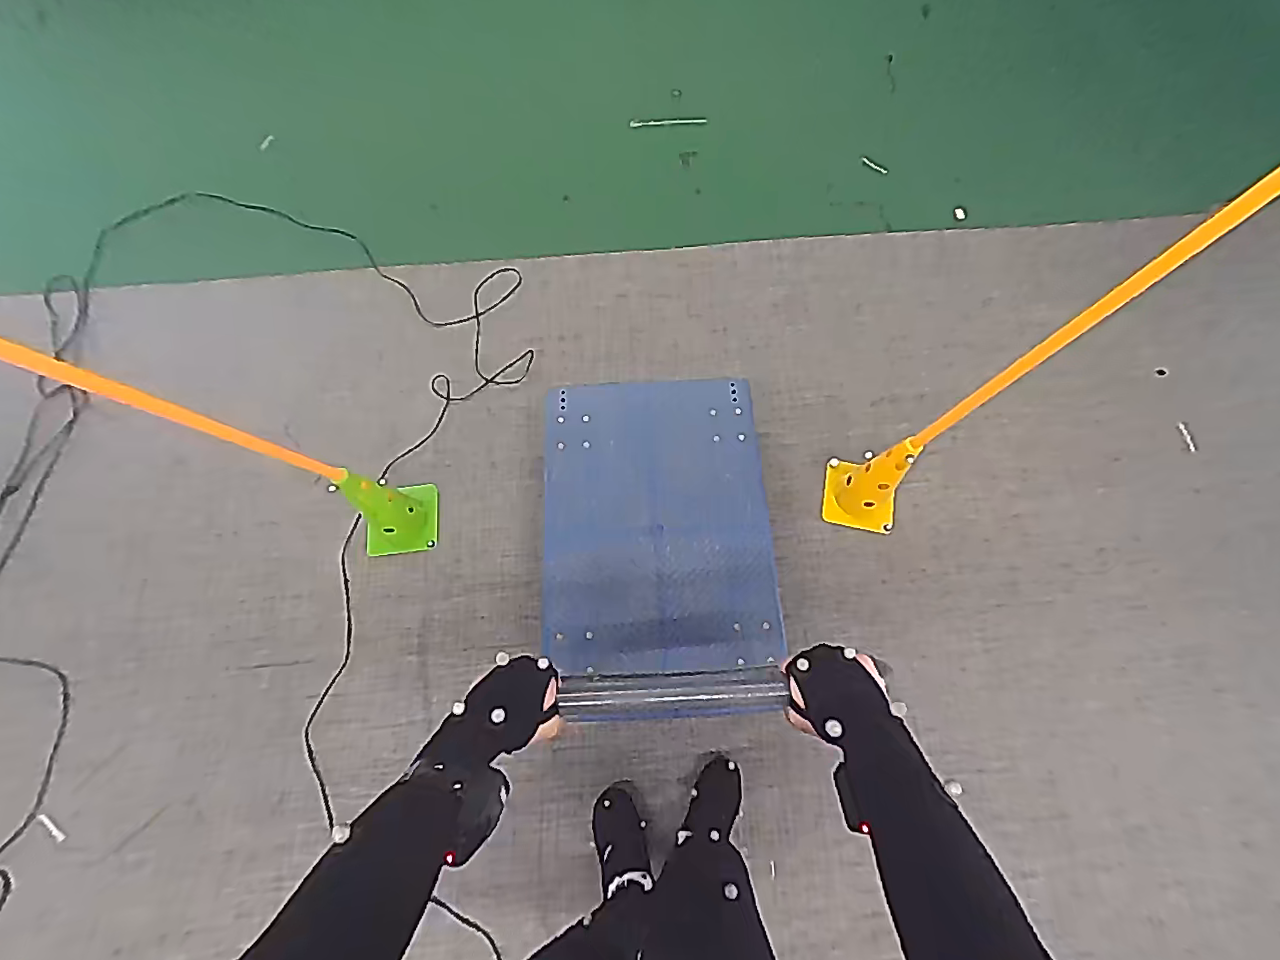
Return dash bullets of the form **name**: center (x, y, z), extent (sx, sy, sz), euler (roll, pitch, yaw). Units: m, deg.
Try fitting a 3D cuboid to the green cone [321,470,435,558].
- **green cone**: center (-0.701, 0.054, 1.408), extent (0.202, 0.368, 0.200), euler (-9, 68, -1)
